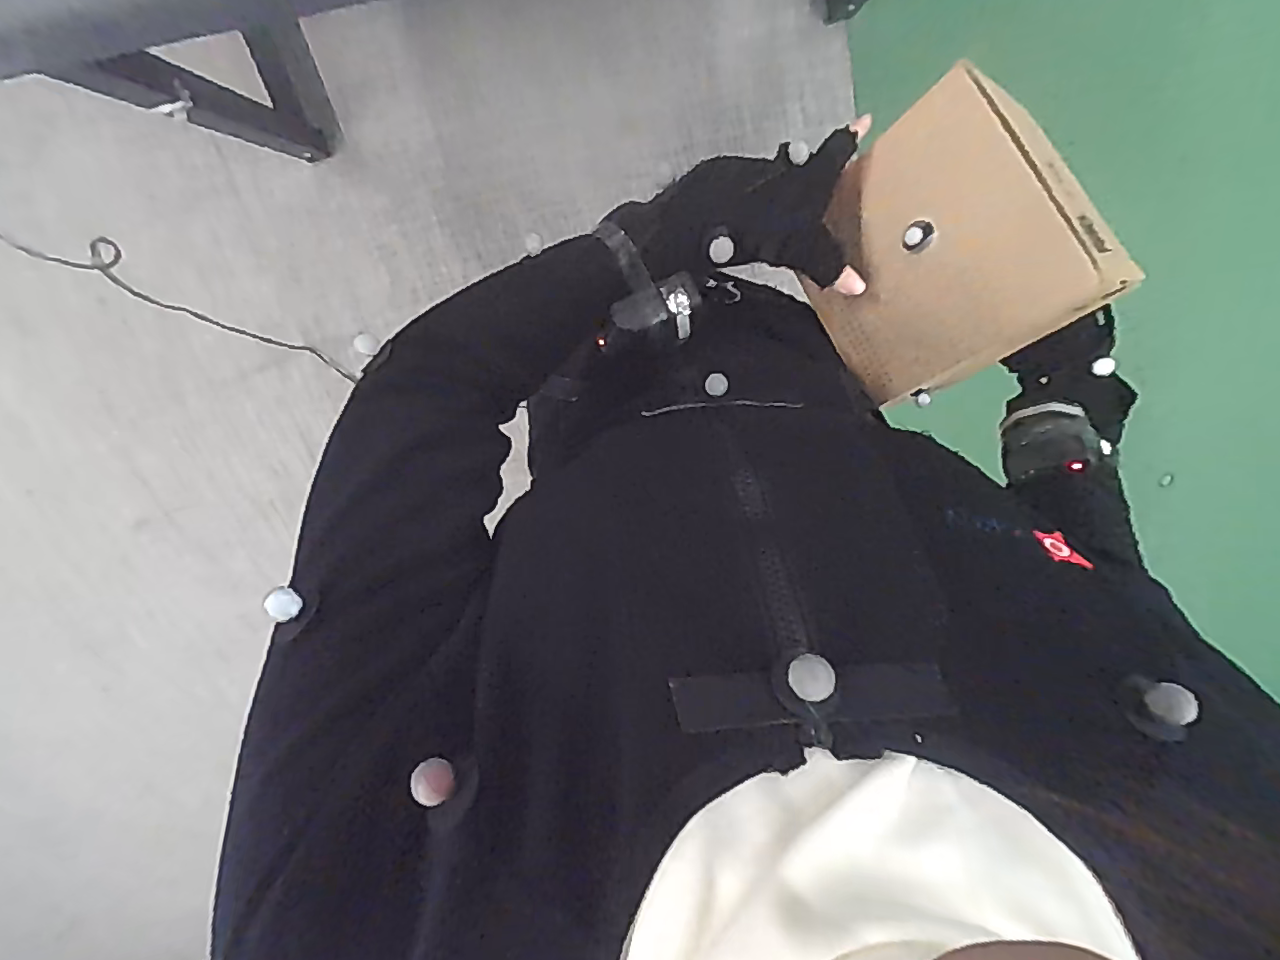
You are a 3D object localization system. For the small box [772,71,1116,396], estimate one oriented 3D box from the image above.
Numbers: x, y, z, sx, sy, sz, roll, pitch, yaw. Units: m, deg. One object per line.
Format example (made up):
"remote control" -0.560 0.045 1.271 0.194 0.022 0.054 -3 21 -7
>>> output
"small box" 0.249 -0.183 0.461 0.176 0.168 0.179 -34 76 47
